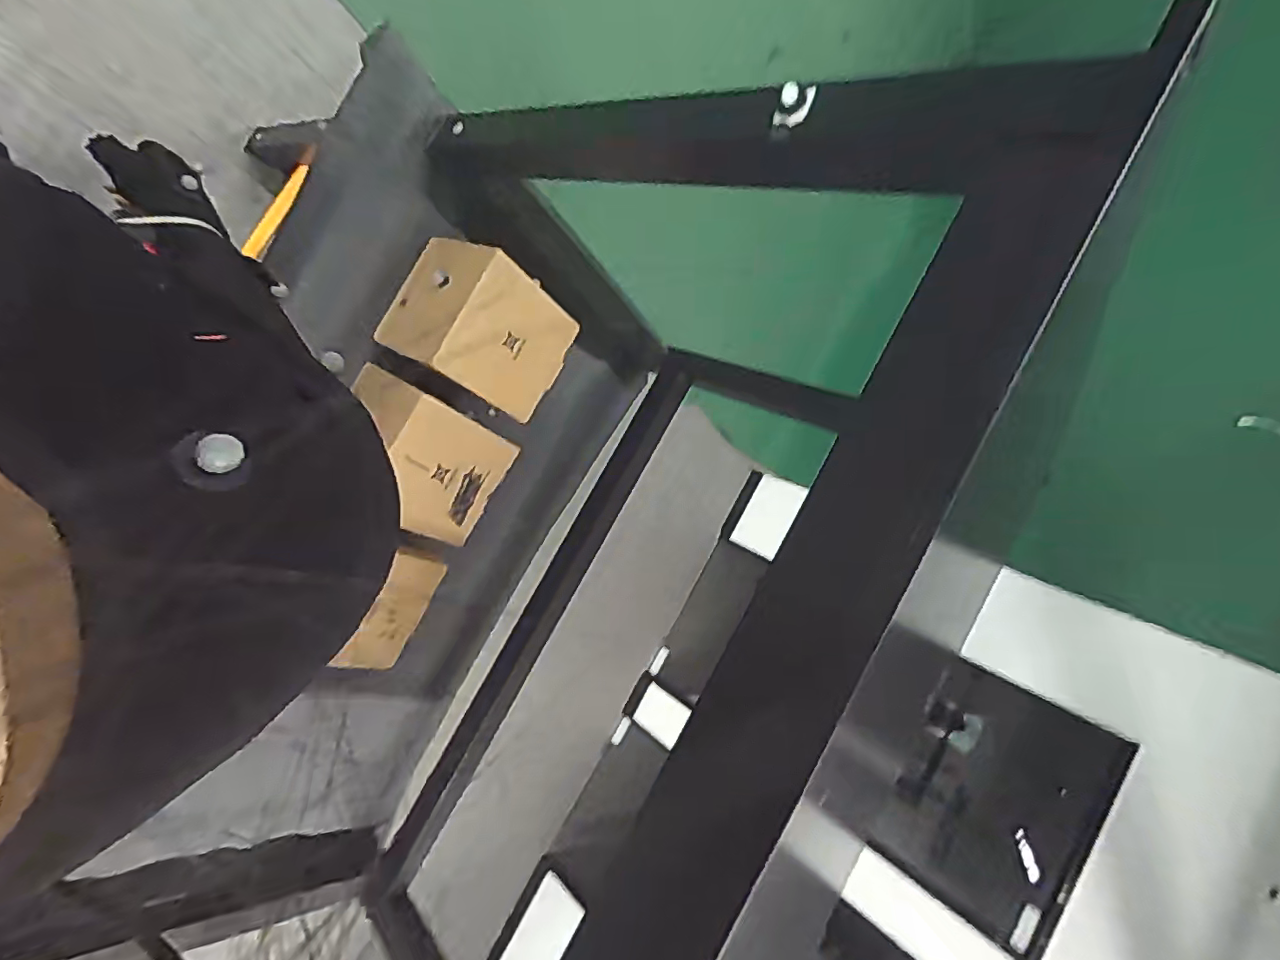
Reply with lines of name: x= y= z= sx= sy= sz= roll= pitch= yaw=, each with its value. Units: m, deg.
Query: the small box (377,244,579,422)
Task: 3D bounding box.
small box: x=-0.227 y=-0.208 z=0.758 sx=0.168 sy=0.176 sz=0.179 roll=-61 pitch=145 yaw=-4
